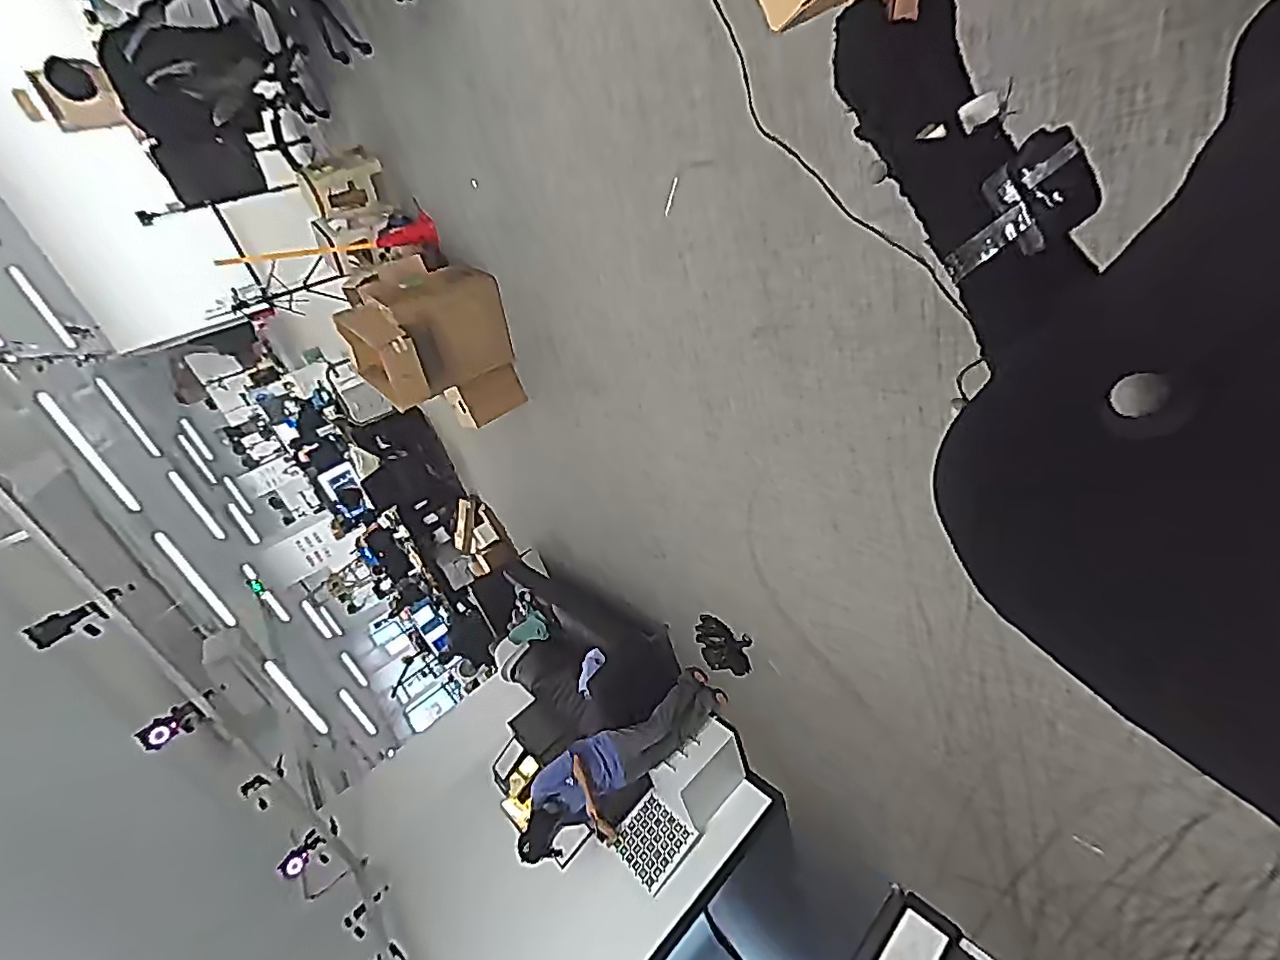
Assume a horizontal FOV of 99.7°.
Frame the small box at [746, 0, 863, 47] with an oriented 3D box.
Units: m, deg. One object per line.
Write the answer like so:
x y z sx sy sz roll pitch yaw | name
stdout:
0.158 -0.465 0.375 0.179 0.176 0.168 58 155 -16 | small box
